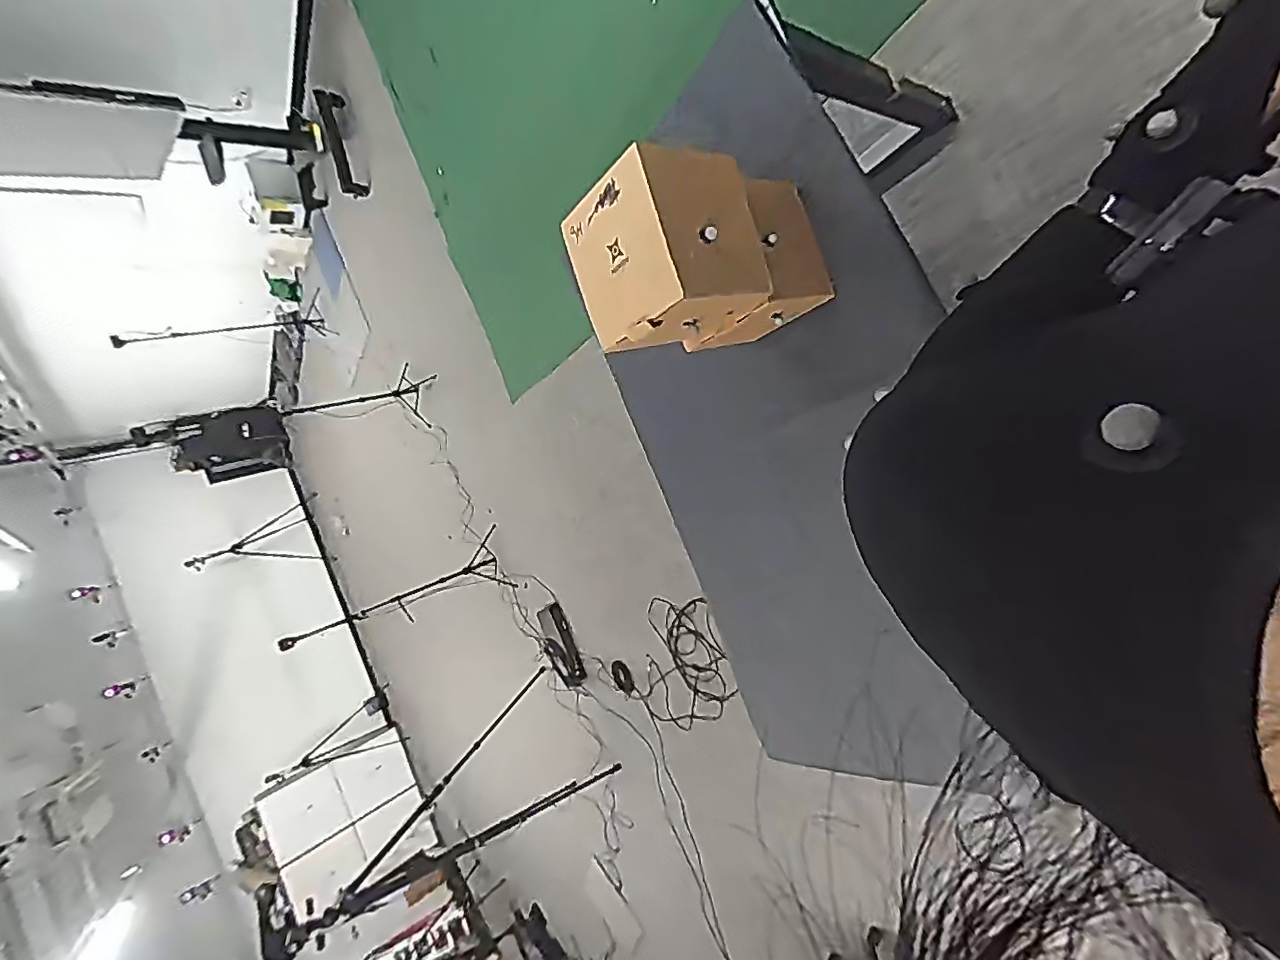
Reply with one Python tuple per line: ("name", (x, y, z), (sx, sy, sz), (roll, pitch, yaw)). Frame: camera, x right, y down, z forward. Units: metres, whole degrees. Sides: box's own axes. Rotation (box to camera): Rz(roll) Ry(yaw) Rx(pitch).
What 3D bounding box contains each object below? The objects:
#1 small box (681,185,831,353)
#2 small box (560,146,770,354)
("small box", (0.148, -0.306, 0.788), (0.168, 0.176, 0.179), (-20, 89, 51))
("small box", (0.034, -0.277, 0.673), (0.168, 0.176, 0.179), (-16, 94, 51))
